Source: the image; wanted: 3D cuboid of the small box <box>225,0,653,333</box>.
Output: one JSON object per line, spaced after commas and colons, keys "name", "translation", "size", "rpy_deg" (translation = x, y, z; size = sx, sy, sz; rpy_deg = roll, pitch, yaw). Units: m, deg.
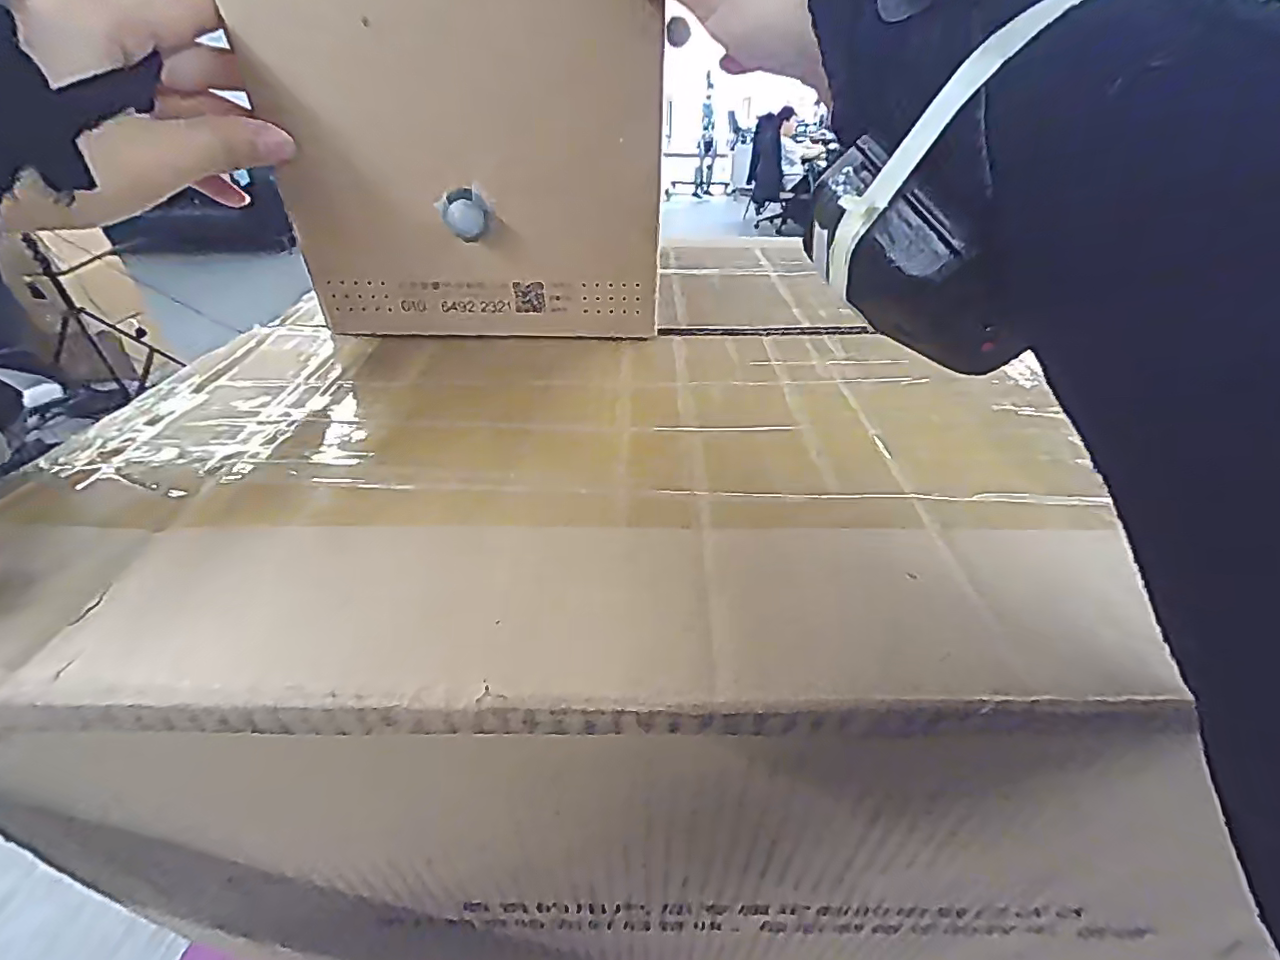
{"name": "small box", "translation": [-0.077, -0.189, 0.285], "size": [0.168, 0.176, 0.179], "rpy_deg": [0, 37, 1]}
